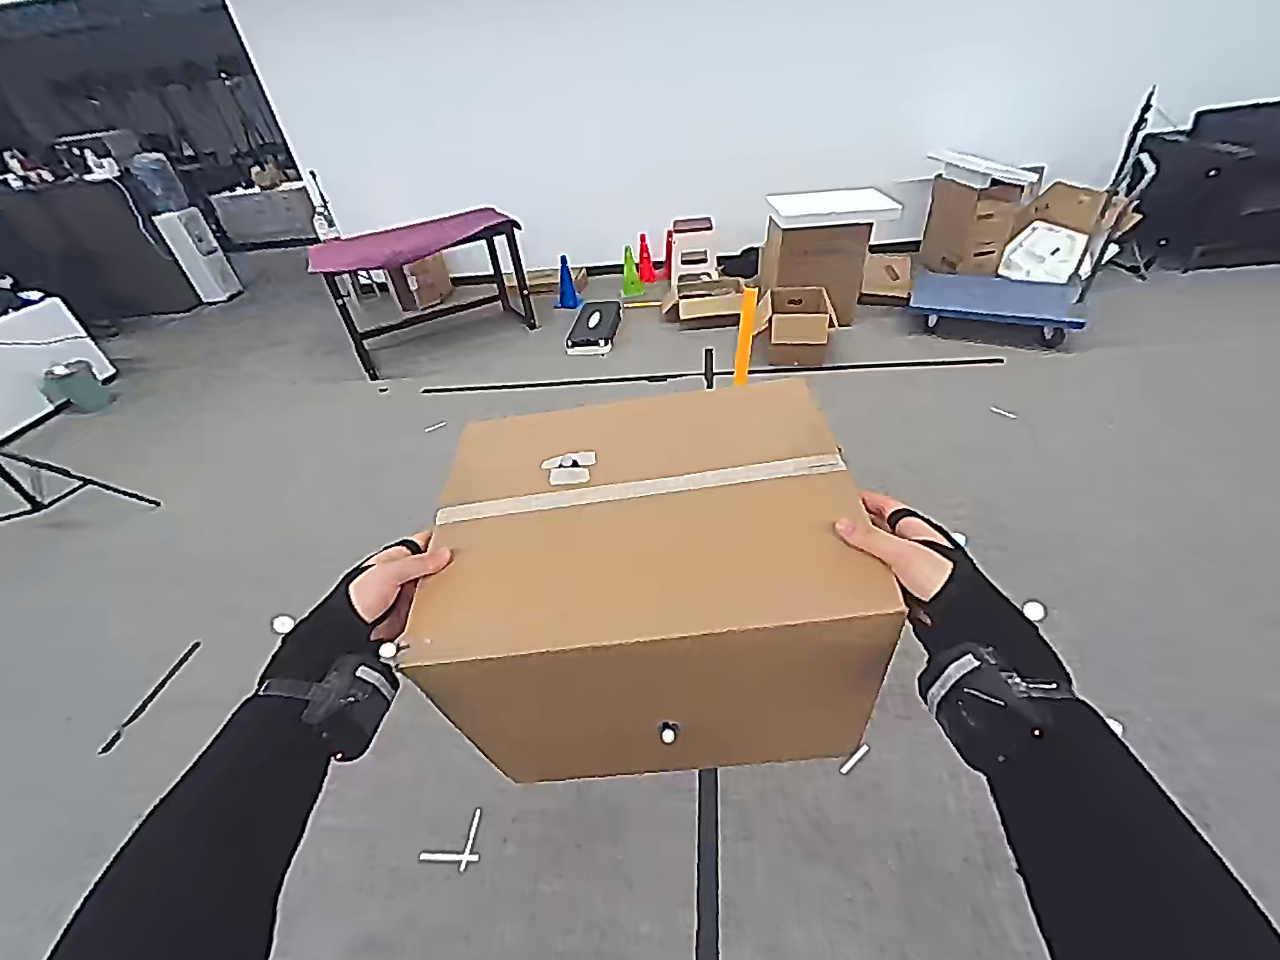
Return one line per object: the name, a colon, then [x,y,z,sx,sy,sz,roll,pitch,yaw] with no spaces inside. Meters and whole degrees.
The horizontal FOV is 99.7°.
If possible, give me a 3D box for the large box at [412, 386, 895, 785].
large box: [0.023,0.131,0.641,0.408,0.320,0.320,-9,43,5]
